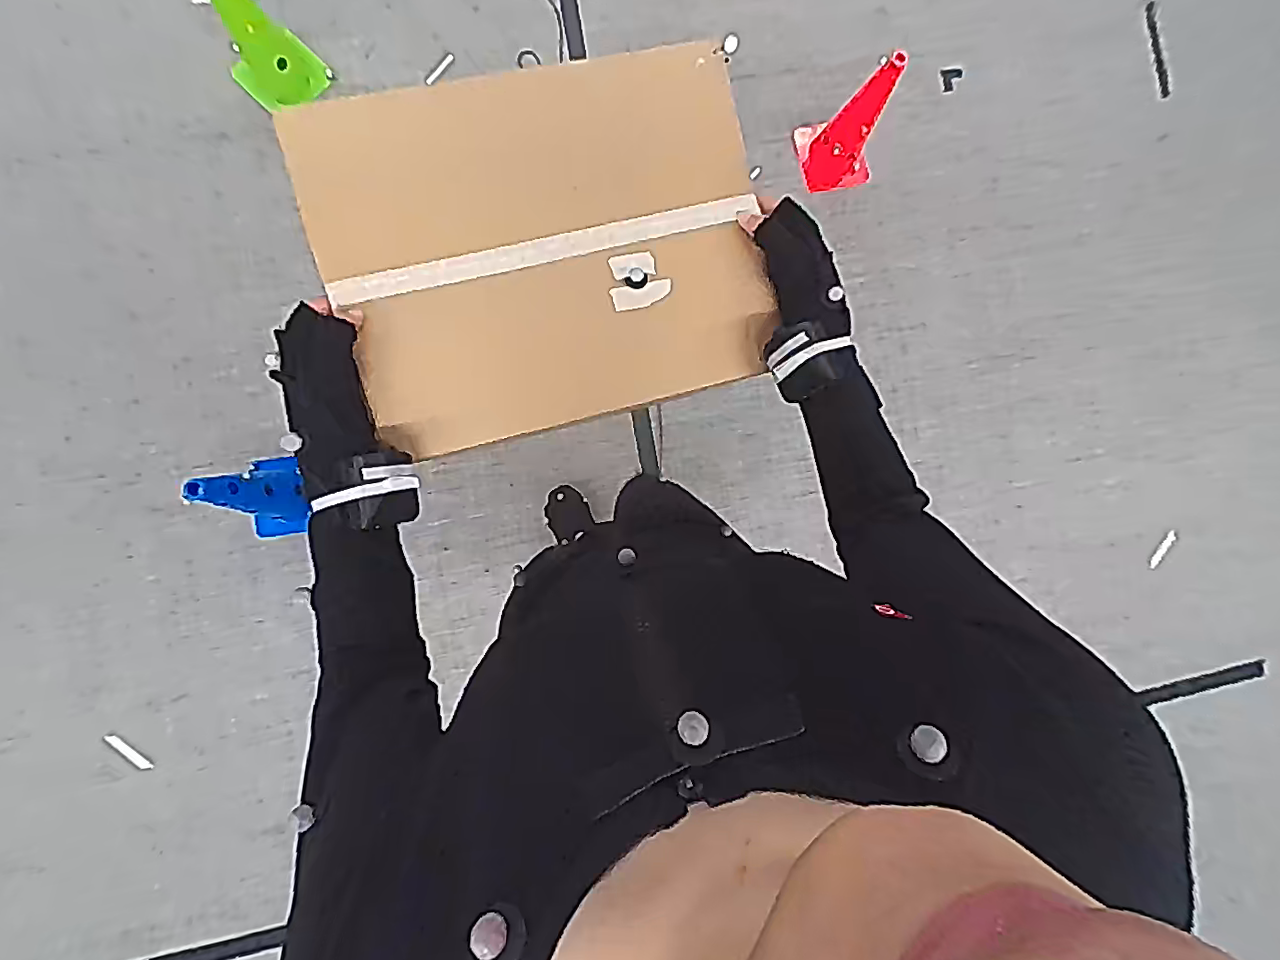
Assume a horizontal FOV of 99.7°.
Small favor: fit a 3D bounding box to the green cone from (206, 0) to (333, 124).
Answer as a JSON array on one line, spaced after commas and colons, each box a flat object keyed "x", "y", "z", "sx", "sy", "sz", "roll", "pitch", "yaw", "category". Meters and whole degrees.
[{"x": -0.945, "y": -1.090, "z": 1.281, "sx": 0.200, "sy": 0.368, "sz": 0.202, "roll": 42, "pitch": 85, "yaw": -1, "category": "green cone"}]

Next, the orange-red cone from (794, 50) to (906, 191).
[{"x": 0.580, "y": -0.968, "z": 1.425, "sx": 0.198, "sy": 0.360, "sz": 0.199, "roll": -13, "pitch": 87, "yaw": -7, "category": "orange-red cone"}]

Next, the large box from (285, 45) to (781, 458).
[{"x": -0.107, "y": -0.228, "z": 0.653, "sx": 0.408, "sy": 0.320, "sz": 0.320, "roll": -16, "pitch": 97, "yaw": -9, "category": "large box"}]

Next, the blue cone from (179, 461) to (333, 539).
[{"x": -0.887, "y": 0.040, "z": 1.240, "sx": 0.192, "sy": 0.380, "sz": 0.193, "roll": -7, "pitch": 87, "yaw": -5, "category": "blue cone"}]
